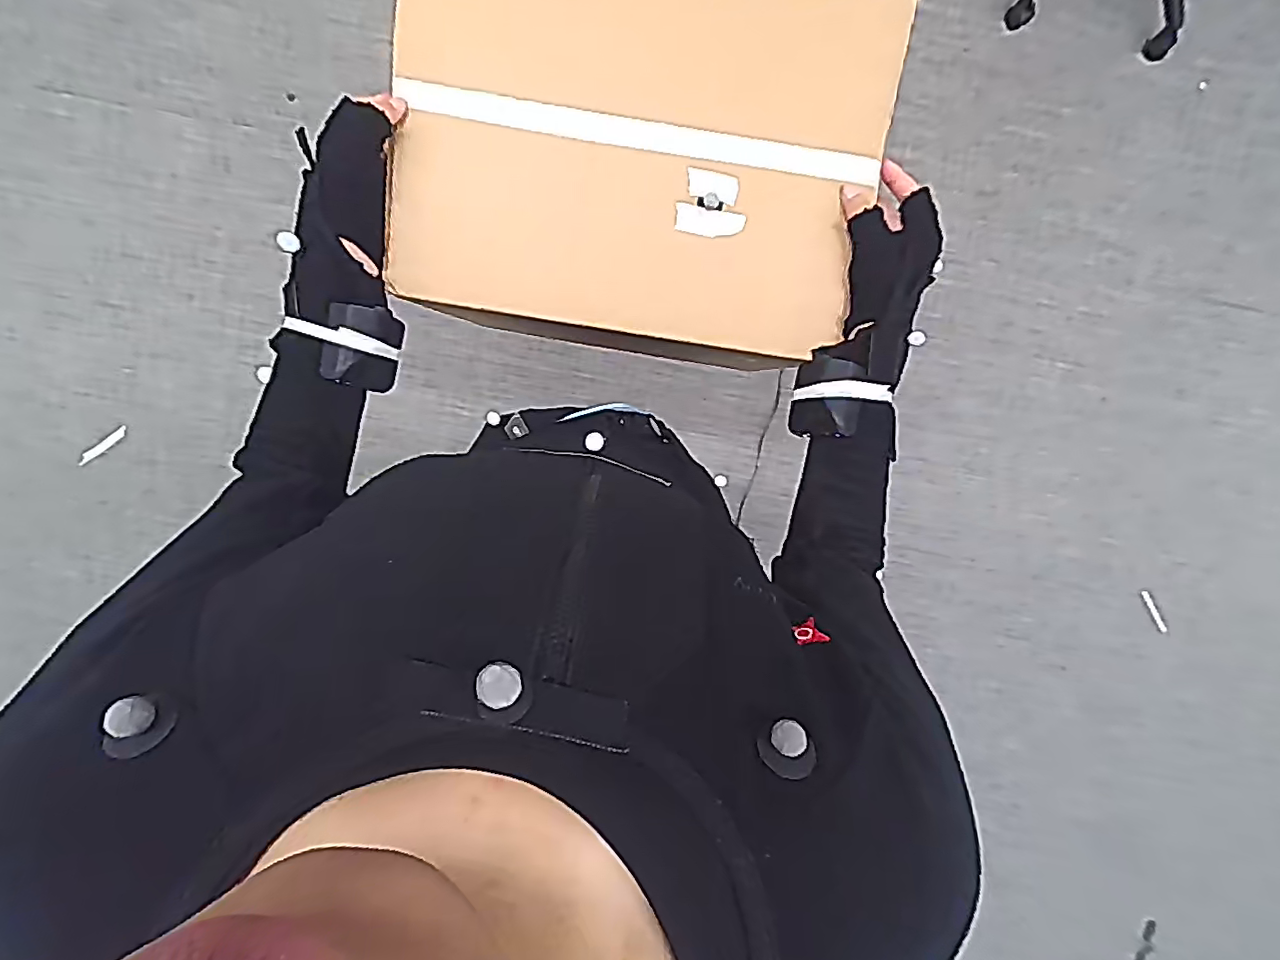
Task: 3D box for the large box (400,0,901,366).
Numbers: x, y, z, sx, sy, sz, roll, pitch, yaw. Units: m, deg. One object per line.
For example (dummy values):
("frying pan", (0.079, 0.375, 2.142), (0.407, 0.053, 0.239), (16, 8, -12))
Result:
("large box", (-0.003, -0.314, 0.611), (0.408, 0.320, 0.320), (9, 101, -3))
